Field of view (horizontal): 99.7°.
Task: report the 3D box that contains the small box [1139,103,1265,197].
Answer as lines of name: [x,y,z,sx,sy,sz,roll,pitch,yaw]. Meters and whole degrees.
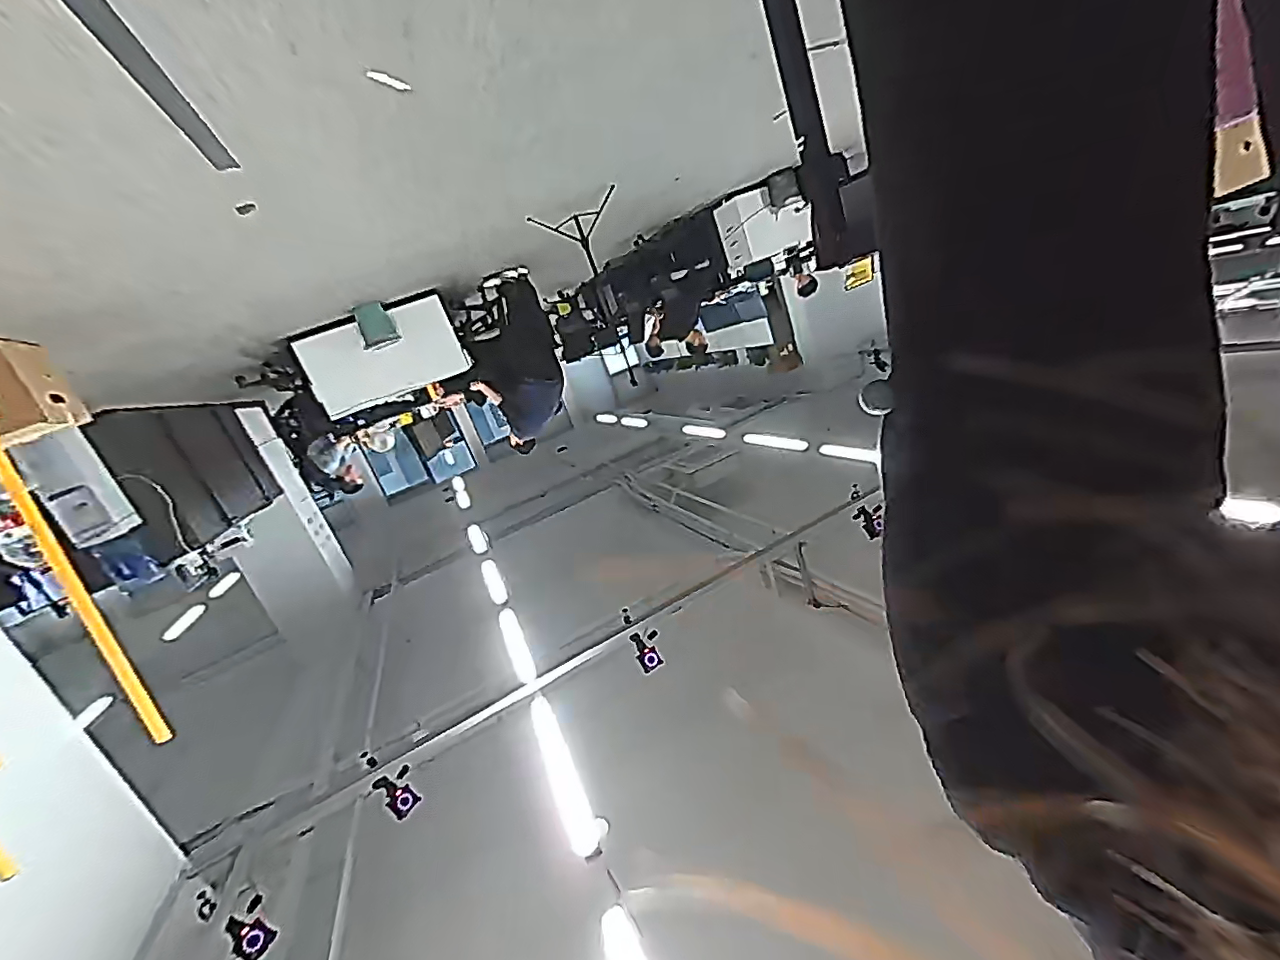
small box: [1.383,-0.805,1.347,0.168,0.176,0.179,-23,-163,-8]
